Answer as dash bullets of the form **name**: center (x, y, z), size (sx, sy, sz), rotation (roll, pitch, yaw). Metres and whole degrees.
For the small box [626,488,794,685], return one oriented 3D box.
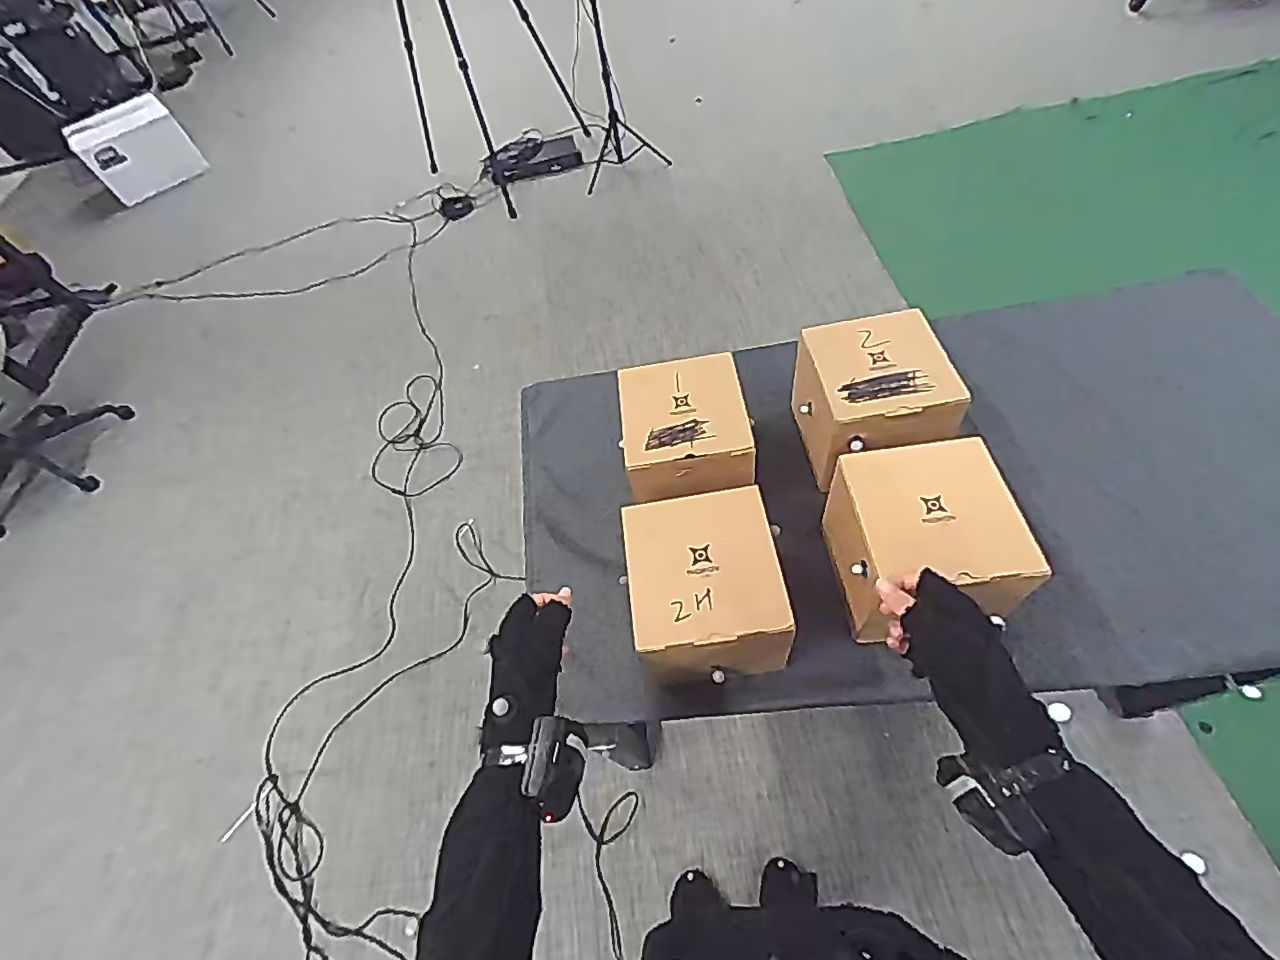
- **small box**: center (0.081, 0.136, 0.666), size (0.168, 0.176, 0.179), rotation (-10, 57, 4)

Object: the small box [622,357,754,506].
- **small box**: center (0.071, -0.048, 0.793), size (0.168, 0.176, 0.179), rotation (-8, 55, 4)
